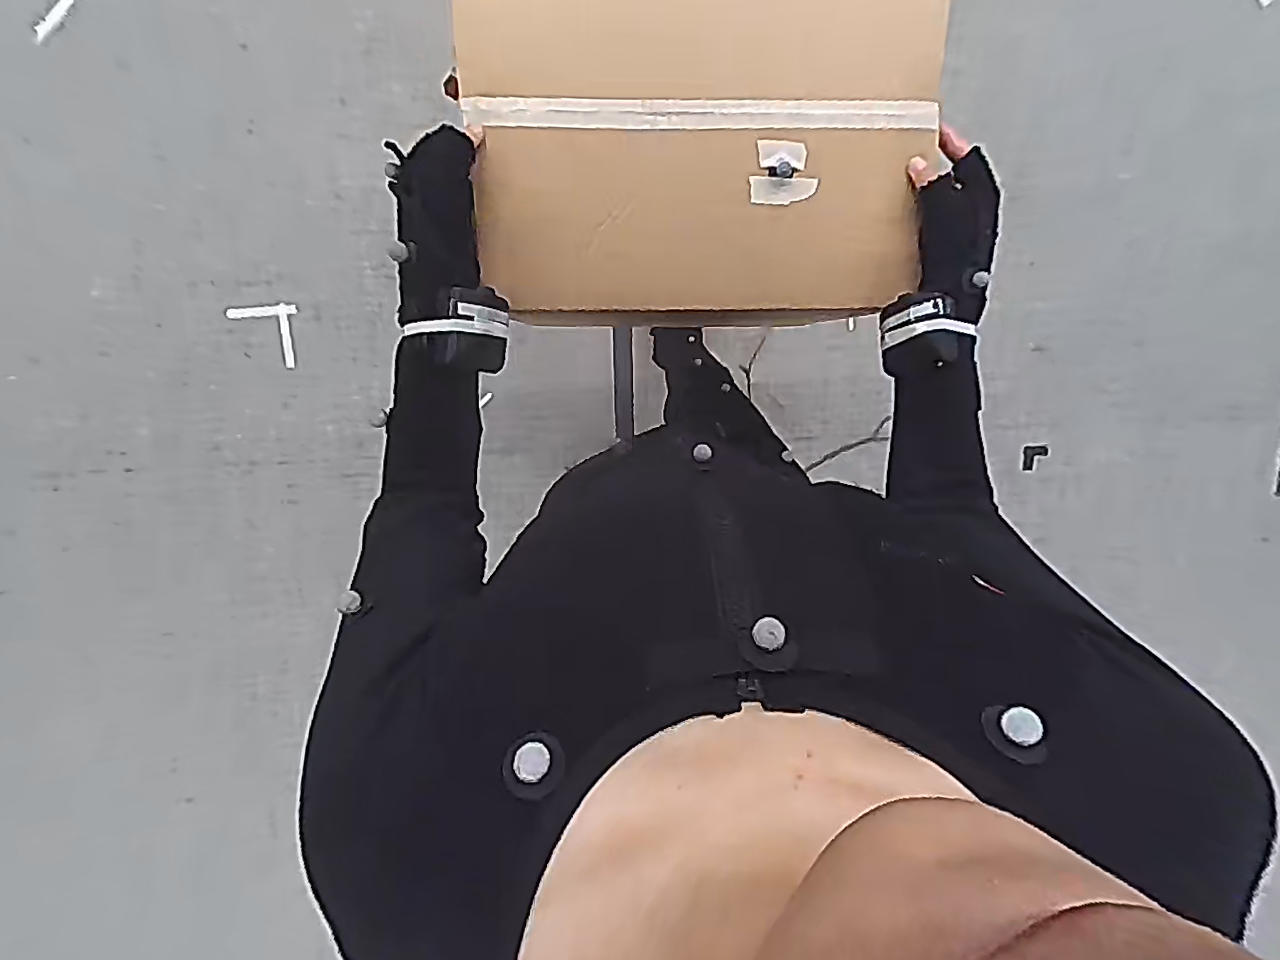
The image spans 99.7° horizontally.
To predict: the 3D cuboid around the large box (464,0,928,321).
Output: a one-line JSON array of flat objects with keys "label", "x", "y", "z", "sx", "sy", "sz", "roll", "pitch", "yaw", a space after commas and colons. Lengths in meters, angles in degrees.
[{"label": "large box", "x": 0.043, "y": -0.358, "z": 0.622, "sx": 0.408, "sy": 0.320, "sz": 0.320, "roll": -2, "pitch": 104, "yaw": -4}]
